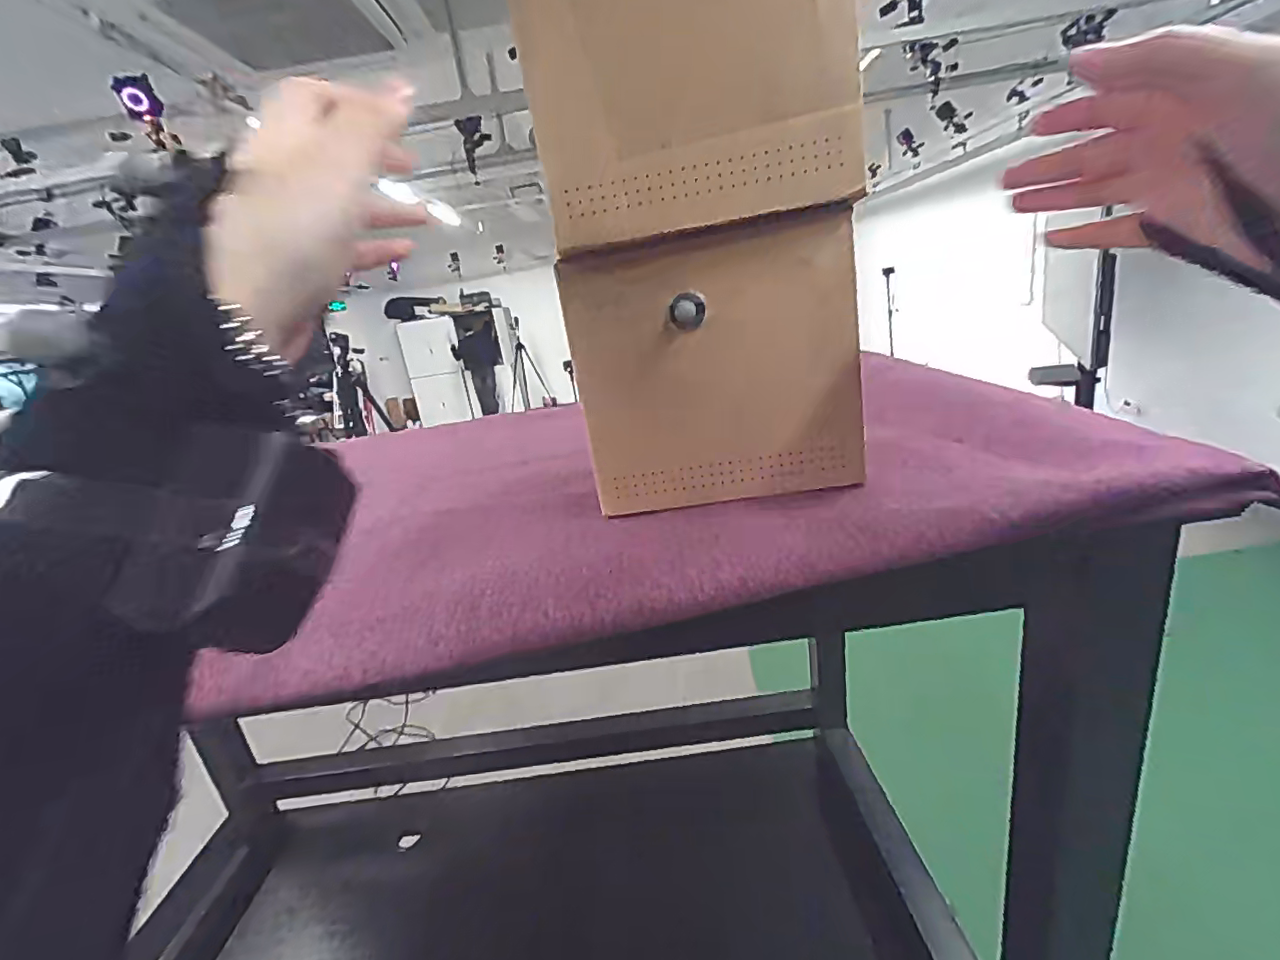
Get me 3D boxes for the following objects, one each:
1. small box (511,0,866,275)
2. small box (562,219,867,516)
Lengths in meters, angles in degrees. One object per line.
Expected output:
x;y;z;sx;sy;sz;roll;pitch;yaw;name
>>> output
0.029;-0.228;0.352;0.179;0.176;0.168;-9;16;4;small box
0.058;-0.079;0.411;0.179;0.176;0.168;-7;16;8;small box
